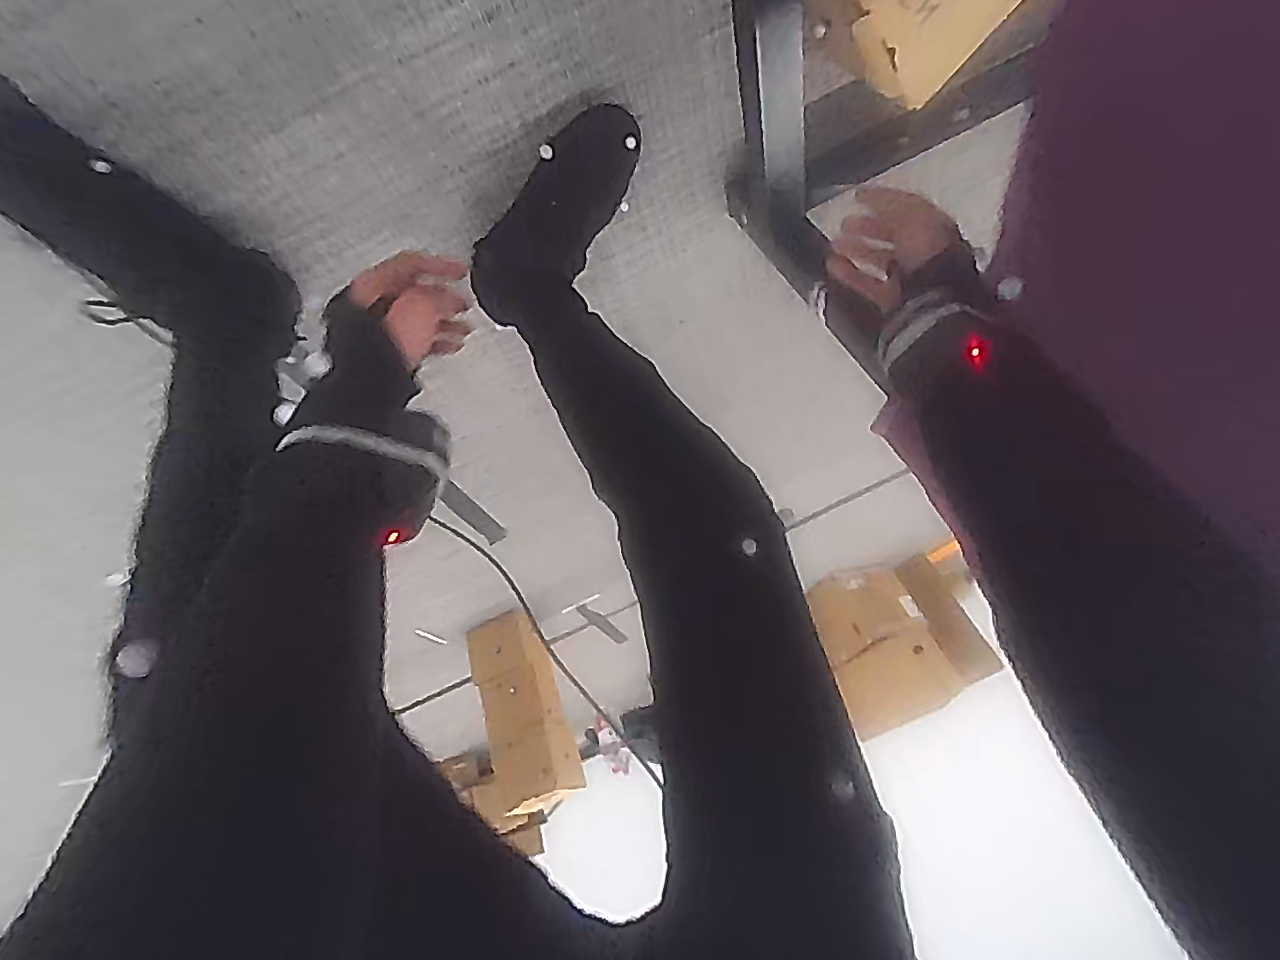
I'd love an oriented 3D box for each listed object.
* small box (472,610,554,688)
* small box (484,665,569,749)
[{"bbox_3d":[-0.384,0.517,1.620,0.179,0.176,0.168,-27,147,4],"label":"small box"},{"bbox_3d":[-0.323,0.647,1.542,0.168,0.176,0.179,-24,147,1],"label":"small box"}]
